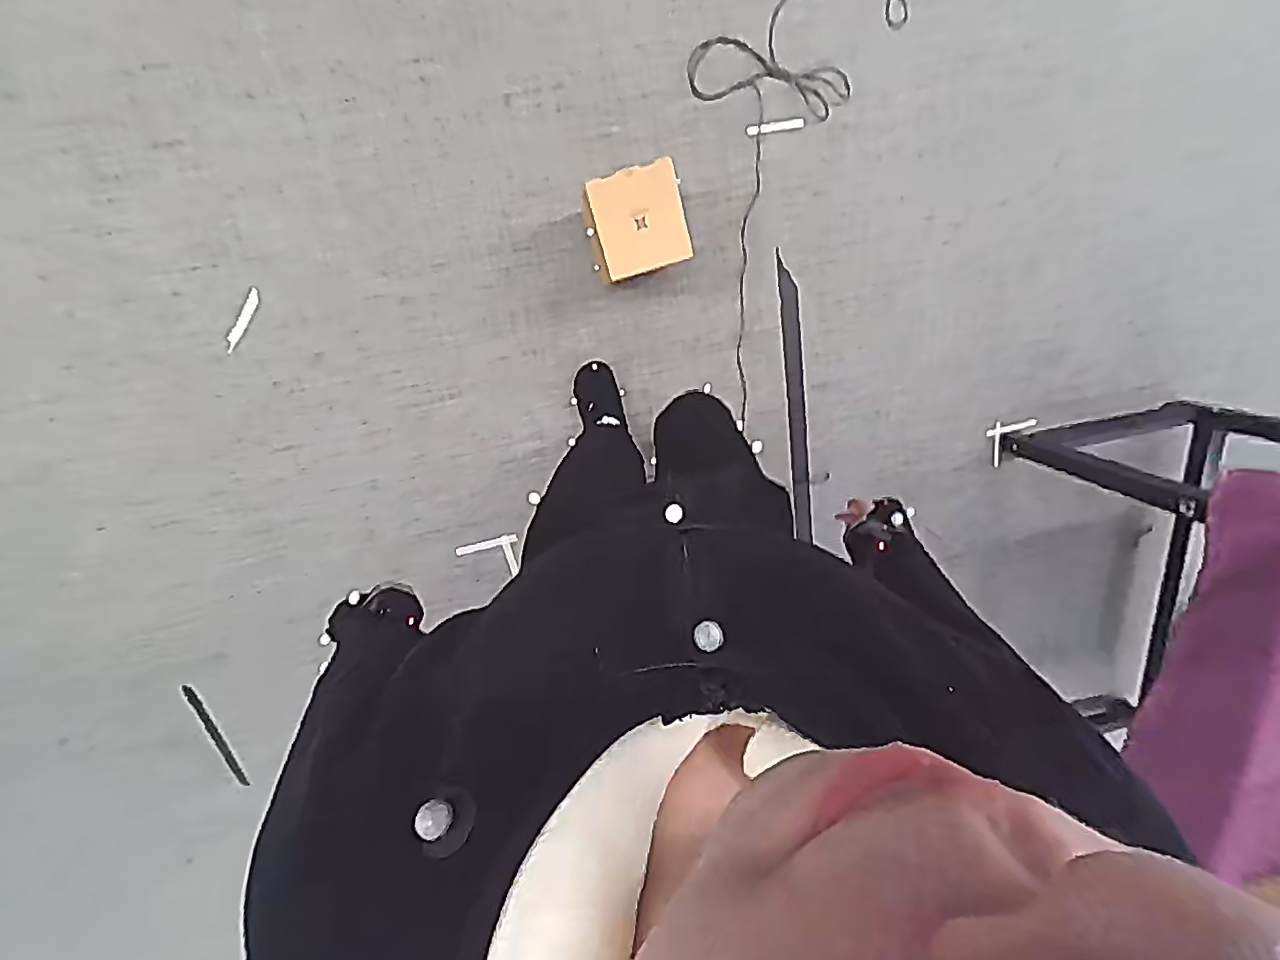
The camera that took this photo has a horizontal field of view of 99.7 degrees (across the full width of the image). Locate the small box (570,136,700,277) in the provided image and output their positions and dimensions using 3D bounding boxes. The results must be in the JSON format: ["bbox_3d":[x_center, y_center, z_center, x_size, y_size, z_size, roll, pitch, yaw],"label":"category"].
[{"bbox_3d":[-0.005,-0.512,1.025,0.179,0.176,0.168,-17,92,18],"label":"small box"}]
